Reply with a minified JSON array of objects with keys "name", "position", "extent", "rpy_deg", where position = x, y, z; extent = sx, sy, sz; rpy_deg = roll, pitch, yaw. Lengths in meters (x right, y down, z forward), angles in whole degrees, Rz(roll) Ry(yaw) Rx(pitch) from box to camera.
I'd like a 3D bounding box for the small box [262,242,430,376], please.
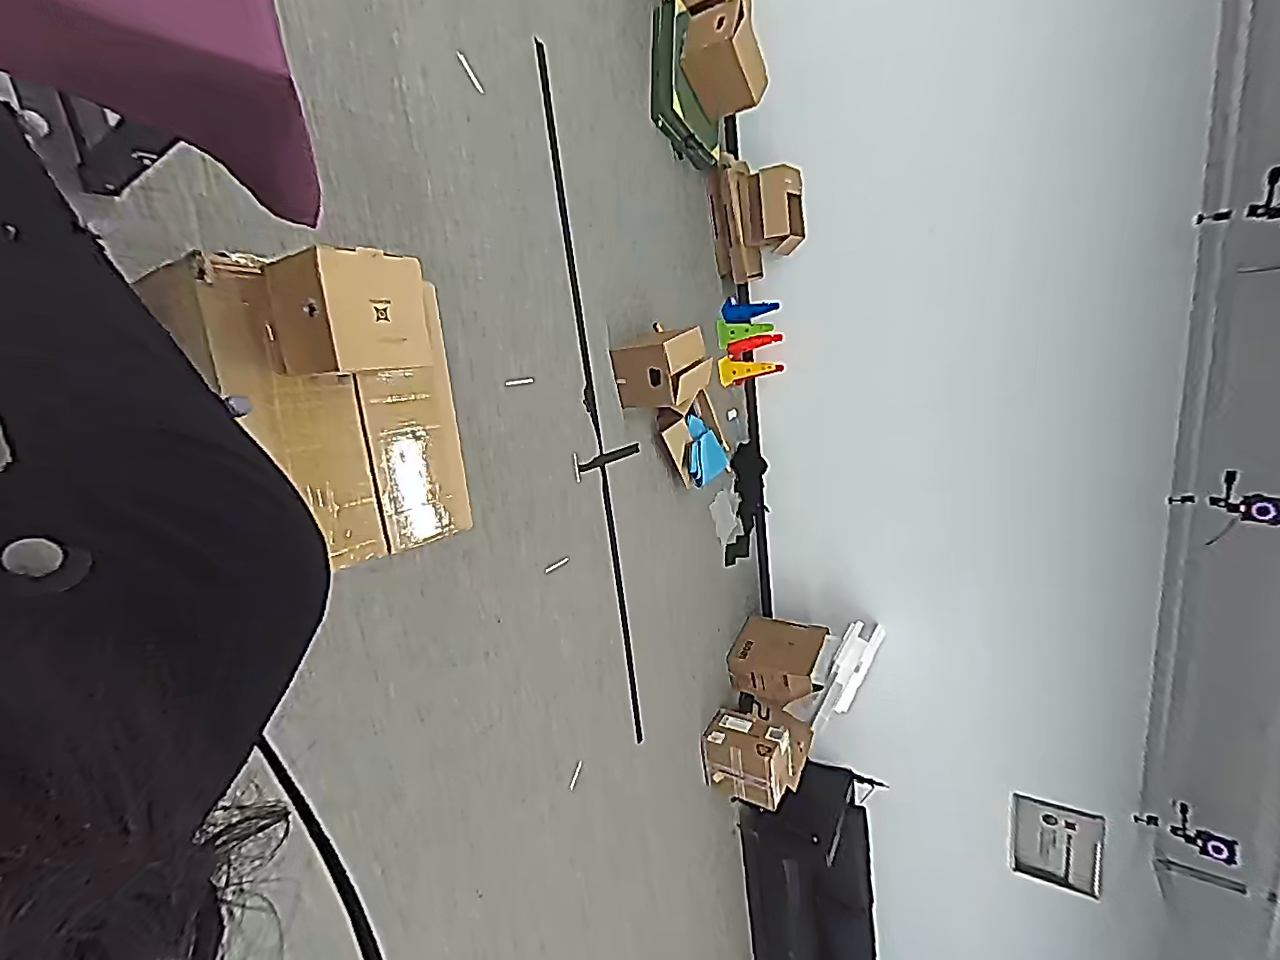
[{"name":"small box","position":[-0.469,-0.264,0.866],"extent":[0.168,0.176,0.179],"rpy_deg":[-22,111,-53]}]
